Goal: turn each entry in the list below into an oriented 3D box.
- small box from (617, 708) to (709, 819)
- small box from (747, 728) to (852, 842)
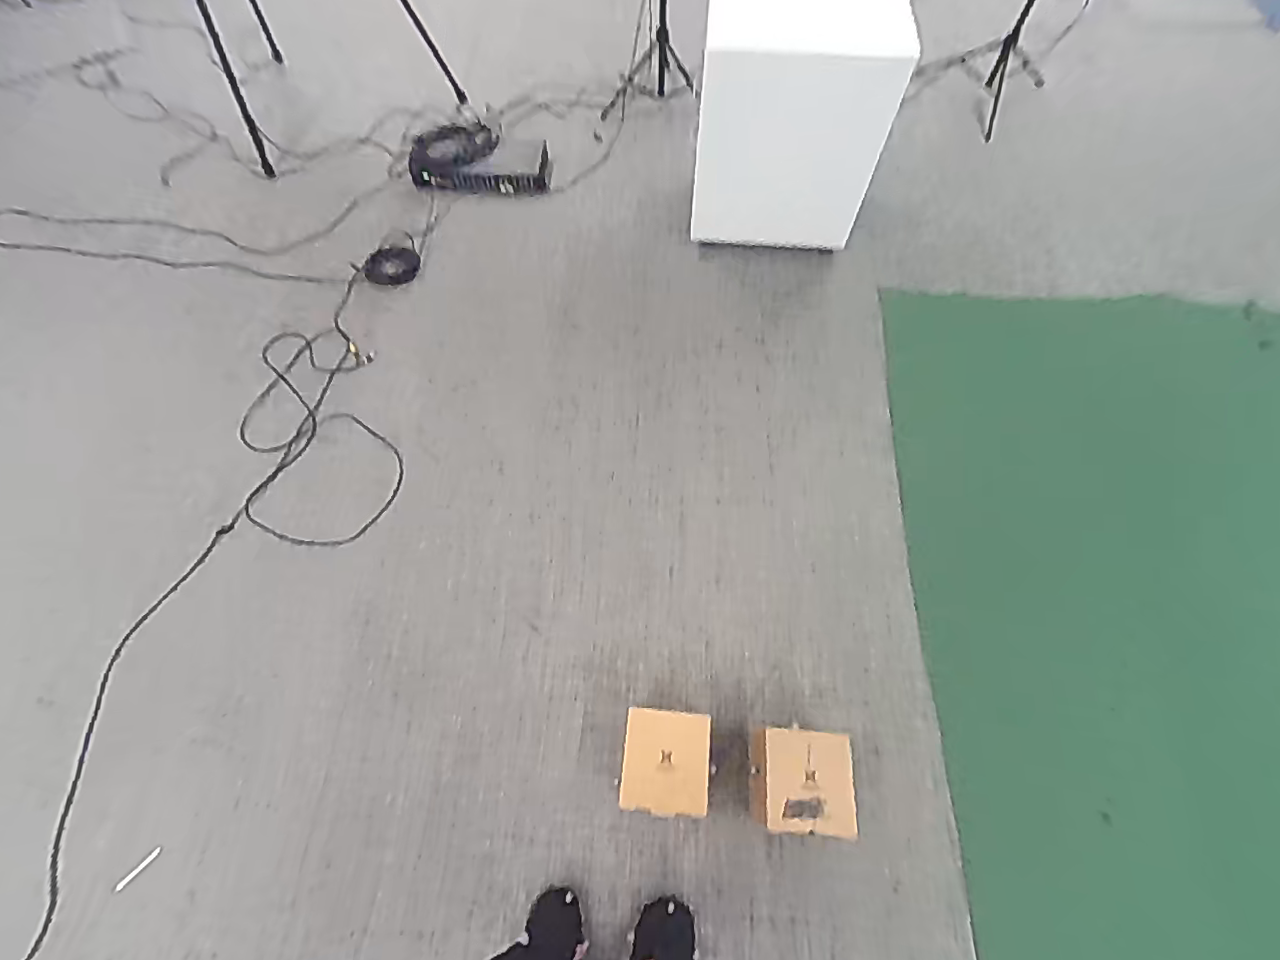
[{"bbox_3d":[0.045,0.571,1.101,0.168,0.176,0.179,5,65,2],"label":"small box"},{"bbox_3d":[0.312,0.604,1.085,0.168,0.176,0.179,5,63,2],"label":"small box"}]
